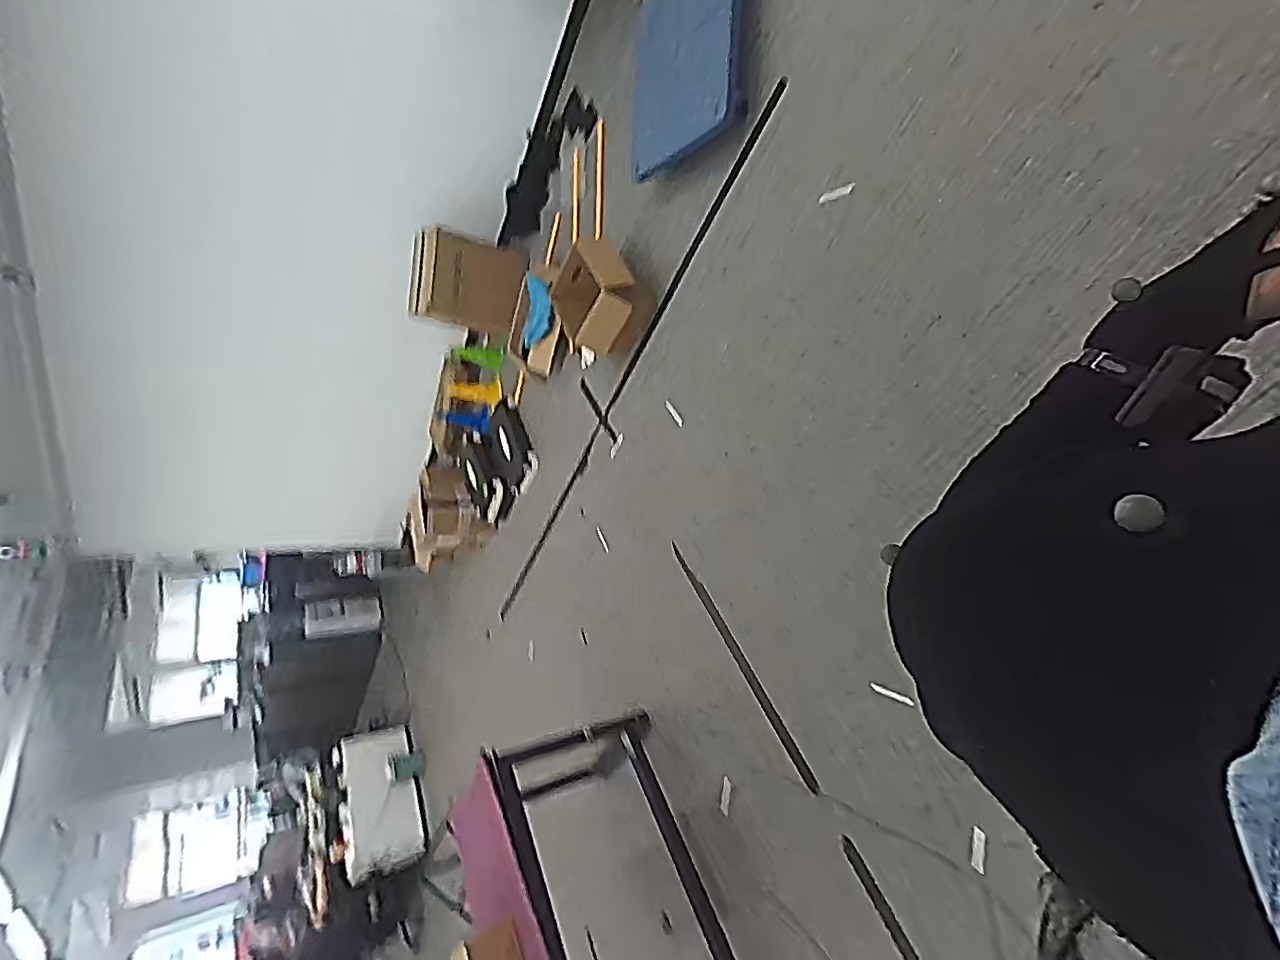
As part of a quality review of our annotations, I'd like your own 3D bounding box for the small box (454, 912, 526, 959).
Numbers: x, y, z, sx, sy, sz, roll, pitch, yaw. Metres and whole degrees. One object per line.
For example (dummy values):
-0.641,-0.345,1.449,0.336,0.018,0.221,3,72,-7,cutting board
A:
-0.495,1.581,1.789,0.179,0.176,0.168,-59,46,32,small box
